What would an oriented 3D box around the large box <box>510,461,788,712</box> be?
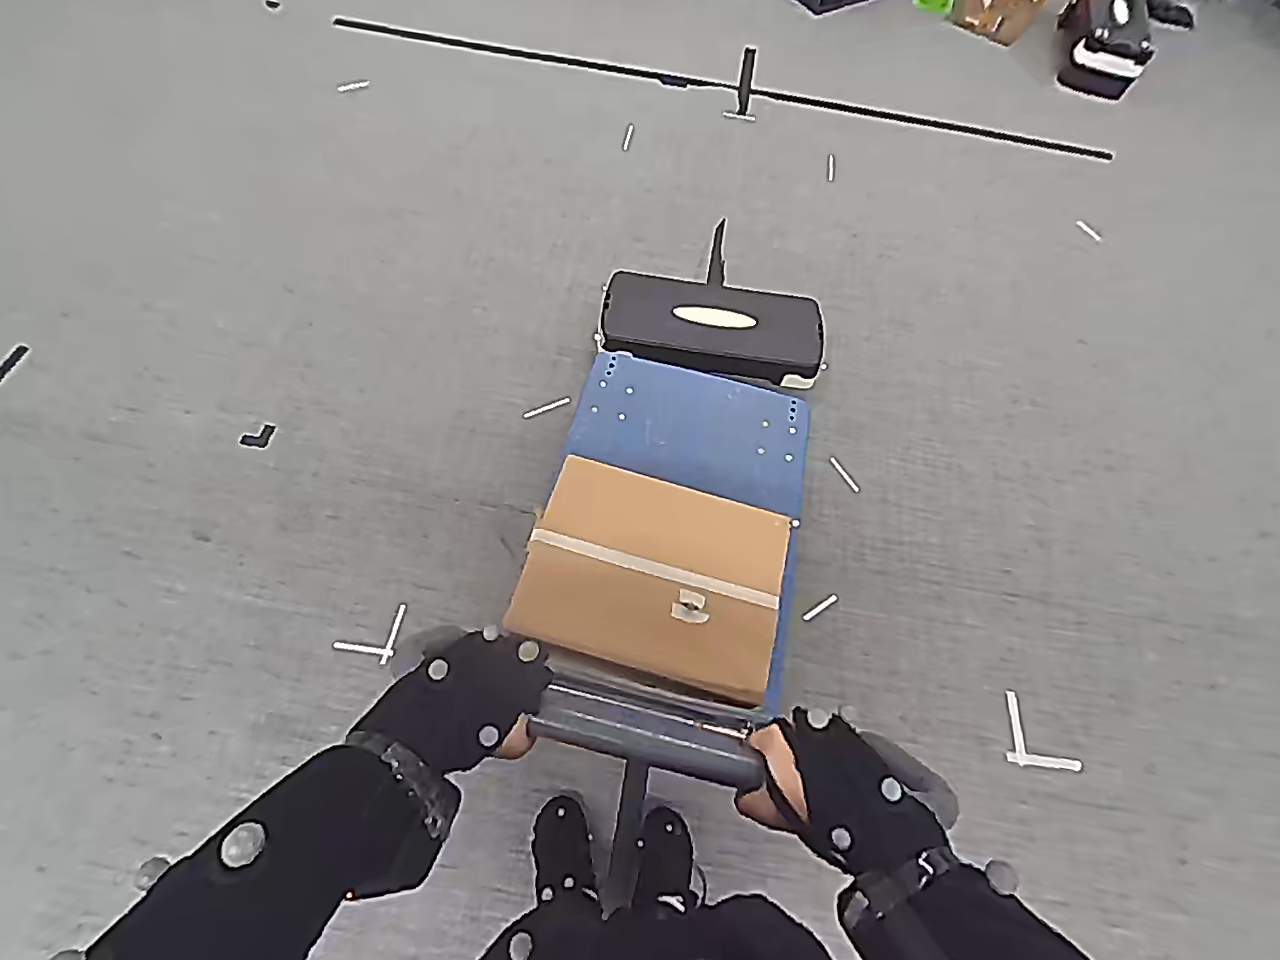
[{"bbox_3d":[0.013,0.211,1.002,0.408,0.320,0.320,16,64,1],"label":"large box"}]
